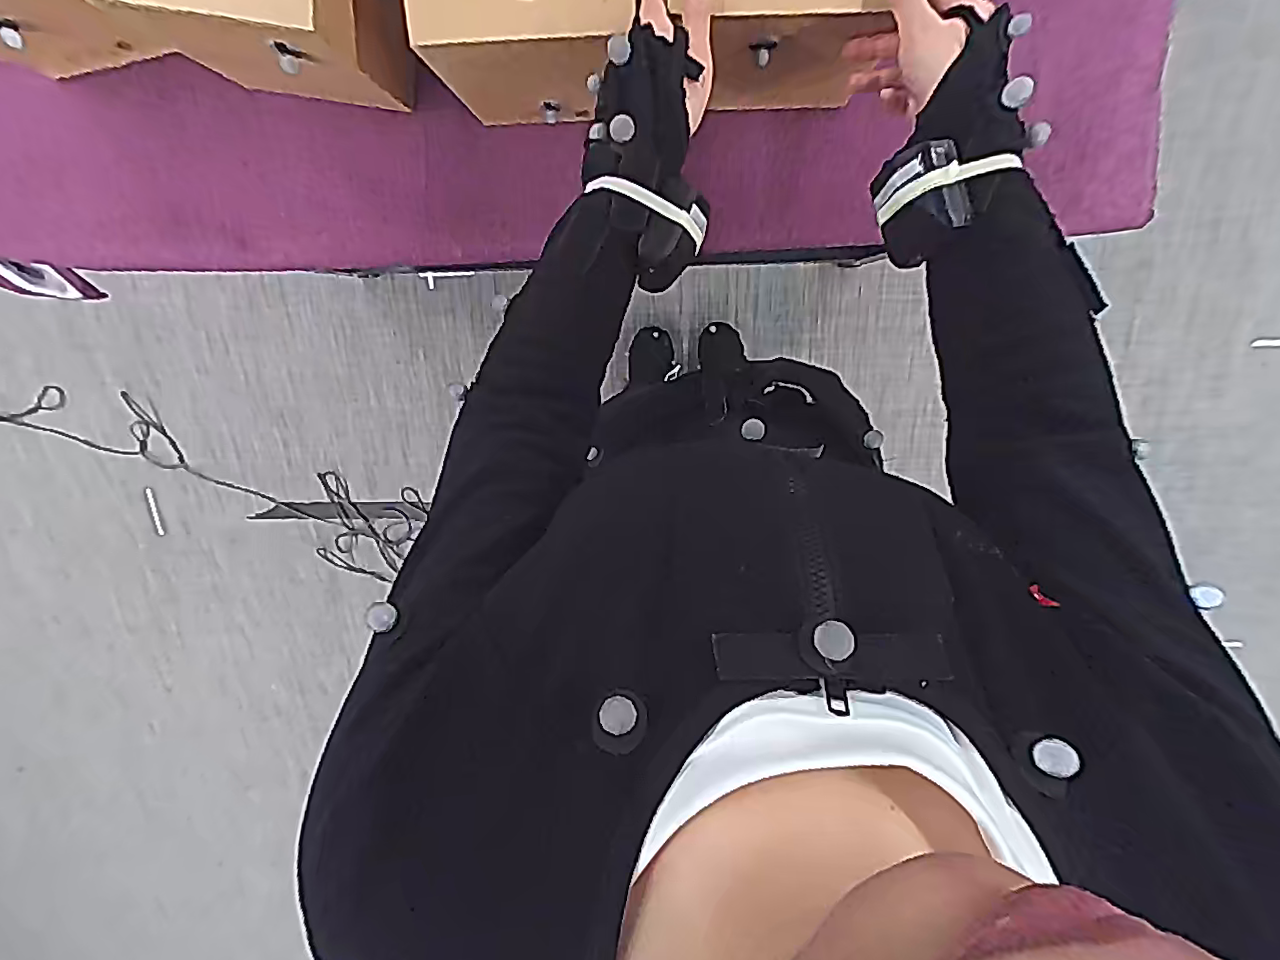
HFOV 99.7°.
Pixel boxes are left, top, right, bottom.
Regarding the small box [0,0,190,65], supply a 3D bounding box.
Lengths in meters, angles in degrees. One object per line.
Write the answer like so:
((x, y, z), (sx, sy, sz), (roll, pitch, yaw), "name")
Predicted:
((-0.533, -0.478, 0.443), (0.168, 0.176, 0.179), (-8, 107, 5), "small box")
